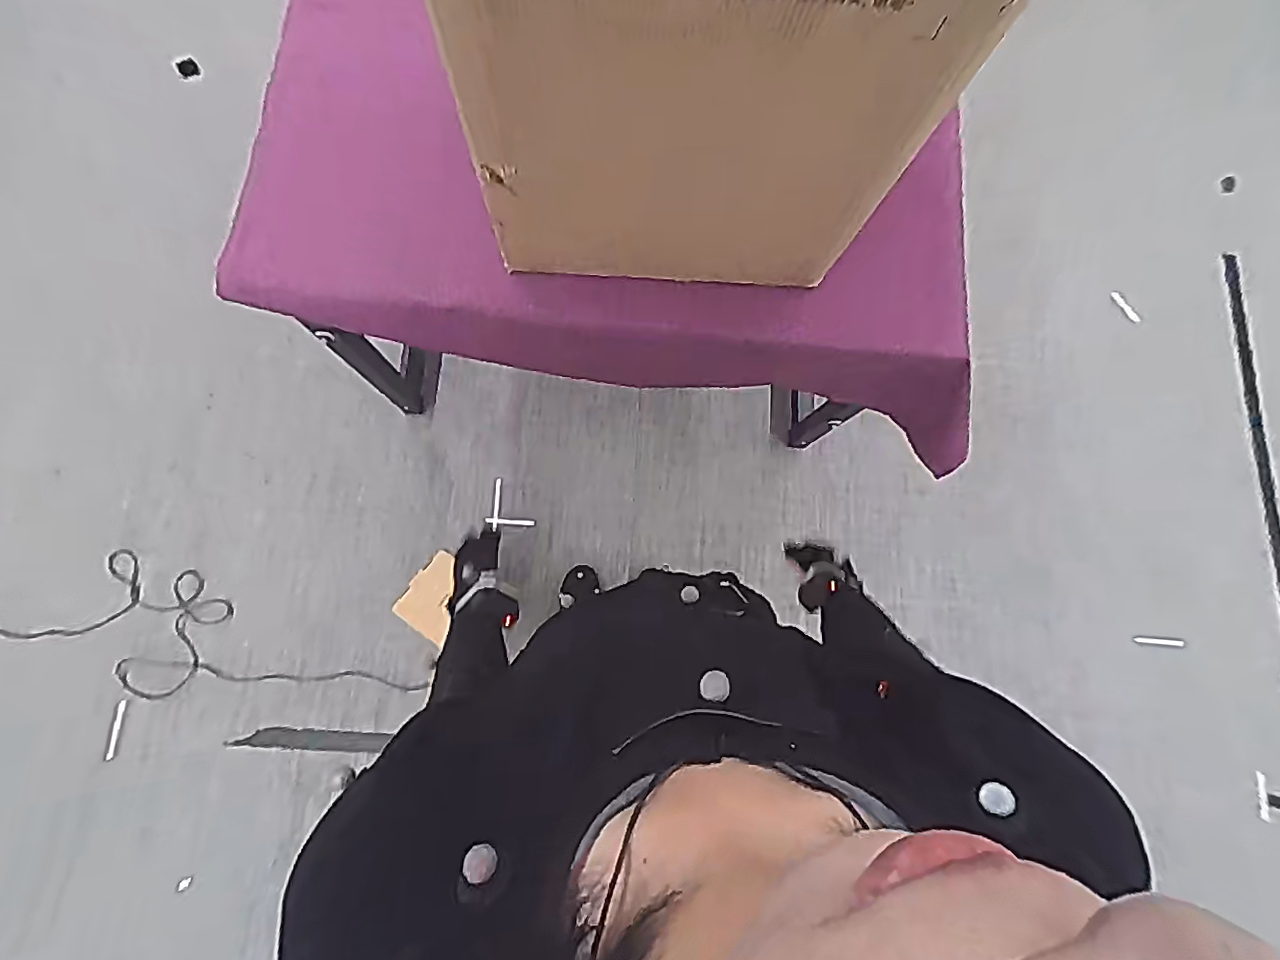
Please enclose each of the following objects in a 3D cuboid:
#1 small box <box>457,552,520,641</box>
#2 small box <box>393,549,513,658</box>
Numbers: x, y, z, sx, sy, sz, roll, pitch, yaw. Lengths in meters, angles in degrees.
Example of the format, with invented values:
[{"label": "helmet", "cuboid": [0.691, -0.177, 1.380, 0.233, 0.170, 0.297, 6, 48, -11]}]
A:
[{"label": "small box", "cuboid": [-0.432, 0.306, 1.395, 0.179, 0.176, 0.168, 35, 79, 1]}, {"label": "small box", "cuboid": [-0.416, 0.280, 1.234, 0.179, 0.176, 0.168, 36, 79, 3]}]
